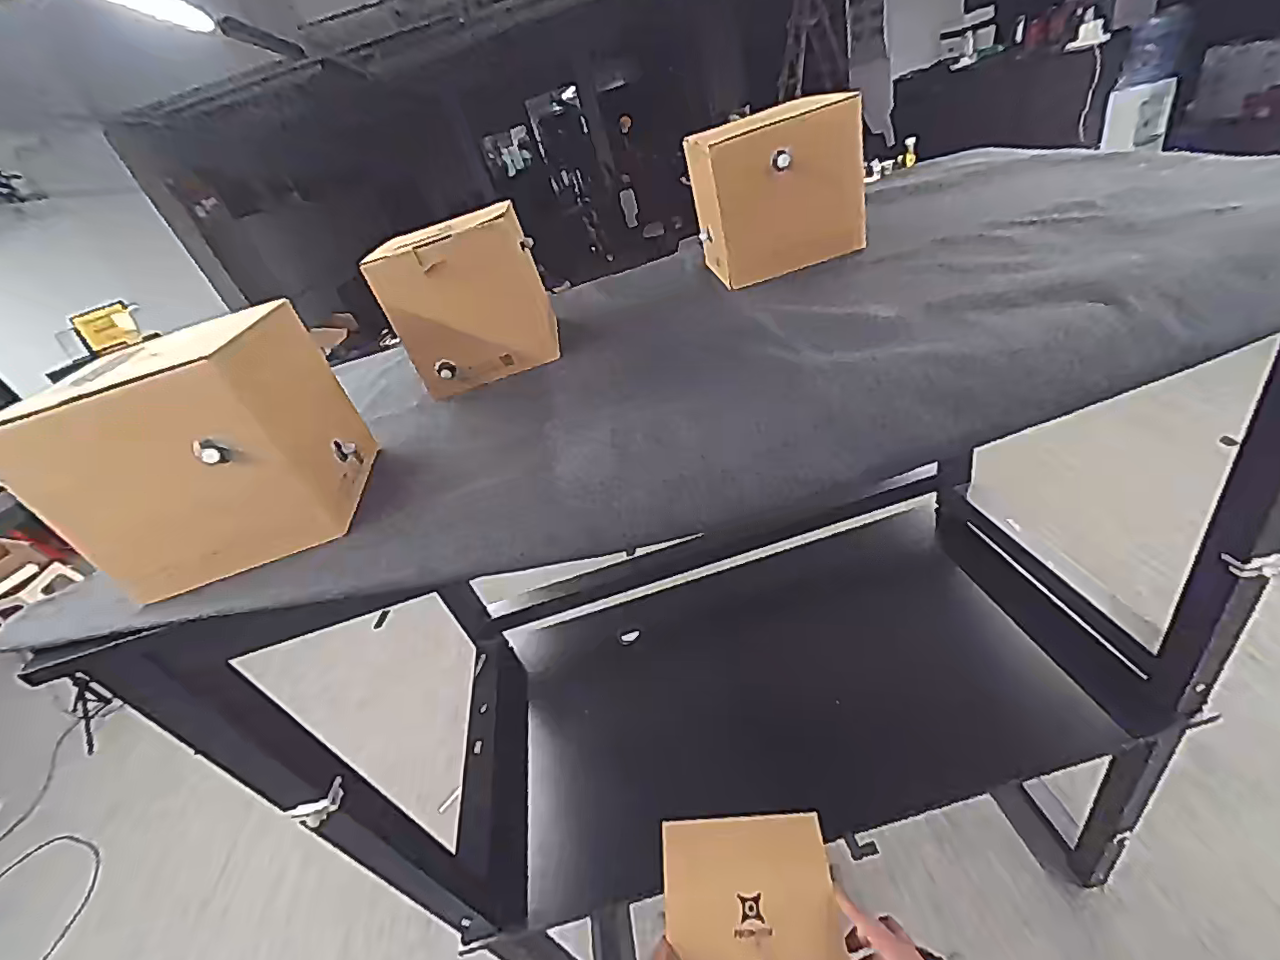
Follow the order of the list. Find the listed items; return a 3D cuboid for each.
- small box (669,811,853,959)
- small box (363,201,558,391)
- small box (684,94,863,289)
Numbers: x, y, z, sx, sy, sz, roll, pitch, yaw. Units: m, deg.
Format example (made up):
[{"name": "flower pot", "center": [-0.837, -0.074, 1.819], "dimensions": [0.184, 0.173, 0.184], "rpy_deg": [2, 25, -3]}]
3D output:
[{"name": "small box", "center": [0.122, 0.472, 0.561], "dimensions": [0.168, 0.176, 0.179], "rpy_deg": [-8, 41, 7]}, {"name": "small box", "center": [-0.209, -0.229, 0.685], "dimensions": [0.168, 0.176, 0.179], "rpy_deg": [-18, 33, 1]}, {"name": "small box", "center": [0.171, -0.371, 0.698], "dimensions": [0.179, 0.176, 0.168], "rpy_deg": [-17, 34, 5]}]
